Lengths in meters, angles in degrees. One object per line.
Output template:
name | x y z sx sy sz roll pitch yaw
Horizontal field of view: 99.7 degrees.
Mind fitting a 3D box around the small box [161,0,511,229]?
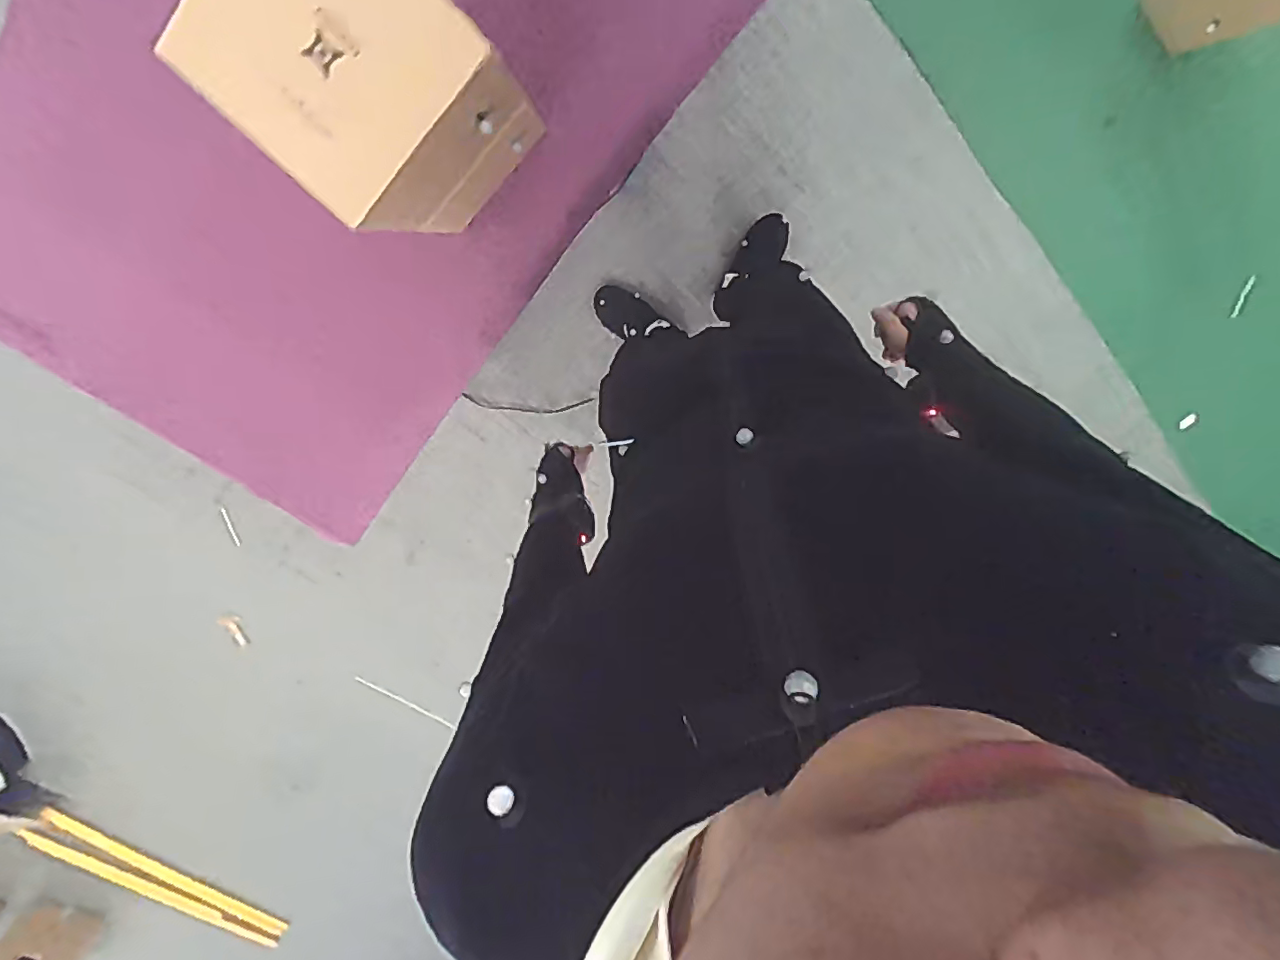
small box | -0.229 -0.343 0.462 0.179 0.176 0.168 -42 109 15

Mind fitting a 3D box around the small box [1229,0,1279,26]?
small box | 1.263 -1.007 1.014 0.179 0.176 0.168 37 109 -17

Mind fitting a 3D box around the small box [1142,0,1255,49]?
small box | 1.257 -1.075 1.161 0.179 0.176 0.168 35 108 -17
